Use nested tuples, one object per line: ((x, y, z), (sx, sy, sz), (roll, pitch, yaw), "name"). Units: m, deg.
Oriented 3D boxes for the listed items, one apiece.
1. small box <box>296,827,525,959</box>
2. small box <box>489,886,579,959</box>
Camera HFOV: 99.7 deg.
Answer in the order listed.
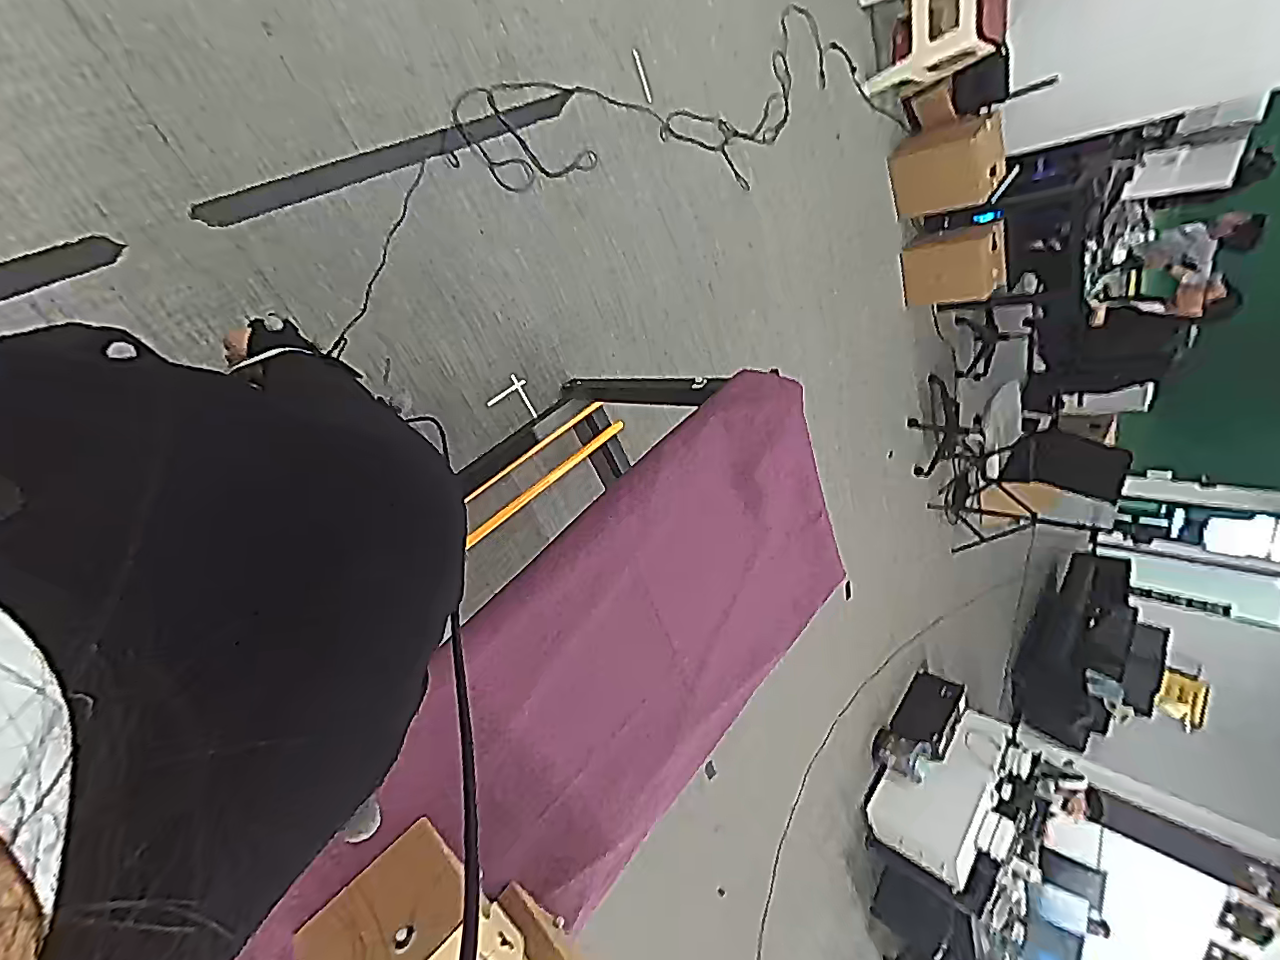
((-0.276, 0.578, 0.658), (0.179, 0.176, 0.168), (-36, 122, -32), "small box")
((-0.178, 0.754, 0.781), (0.179, 0.176, 0.168), (-42, 122, -29), "small box")
